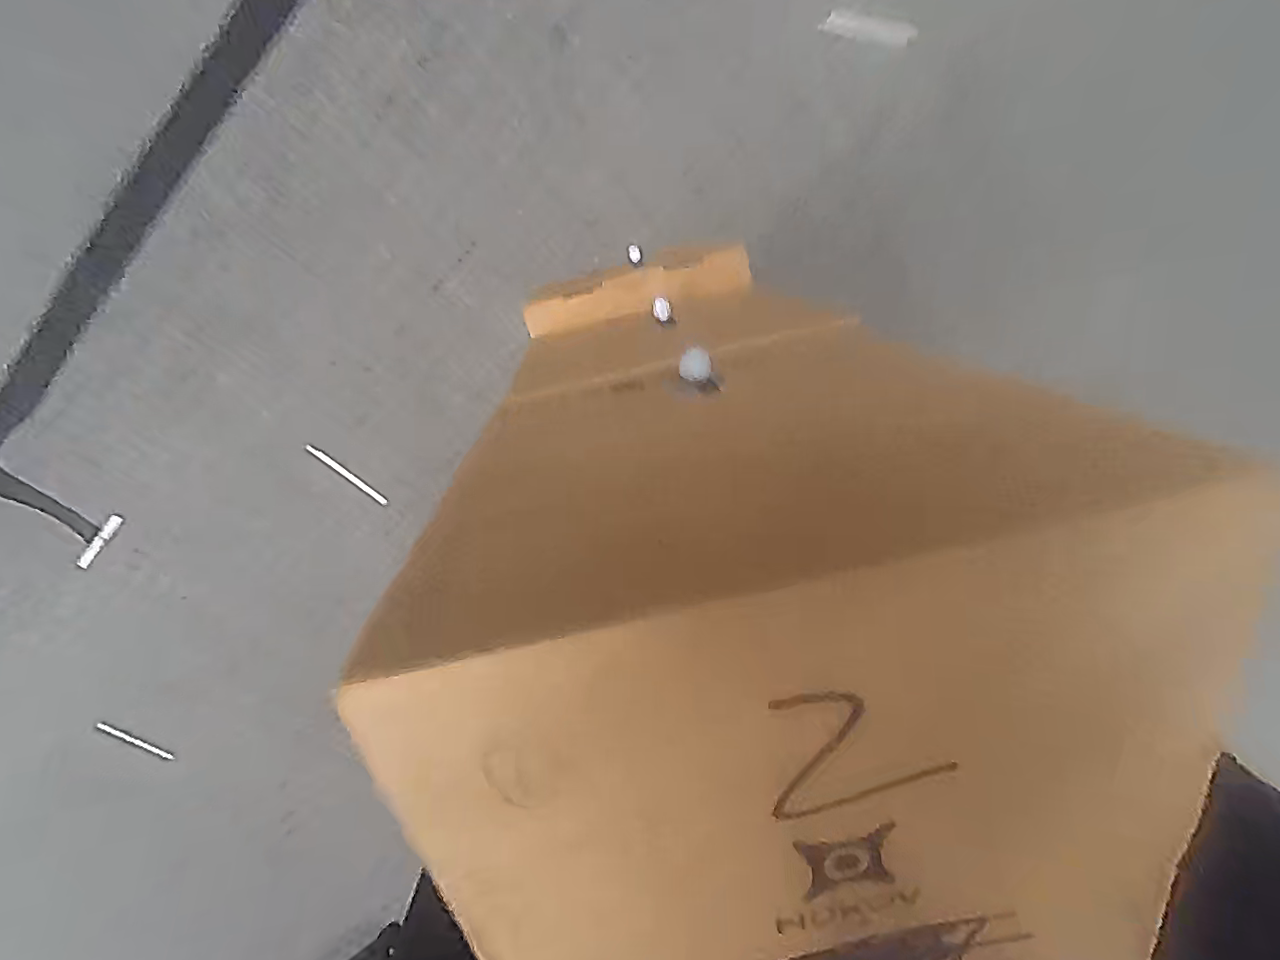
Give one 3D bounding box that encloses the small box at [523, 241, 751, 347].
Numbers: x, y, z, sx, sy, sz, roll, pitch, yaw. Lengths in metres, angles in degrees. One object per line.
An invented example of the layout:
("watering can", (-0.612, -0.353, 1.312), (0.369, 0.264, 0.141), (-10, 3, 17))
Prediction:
("small box", (0.007, -0.105, 0.489), (0.168, 0.176, 0.179), (-16, 114, 1))
